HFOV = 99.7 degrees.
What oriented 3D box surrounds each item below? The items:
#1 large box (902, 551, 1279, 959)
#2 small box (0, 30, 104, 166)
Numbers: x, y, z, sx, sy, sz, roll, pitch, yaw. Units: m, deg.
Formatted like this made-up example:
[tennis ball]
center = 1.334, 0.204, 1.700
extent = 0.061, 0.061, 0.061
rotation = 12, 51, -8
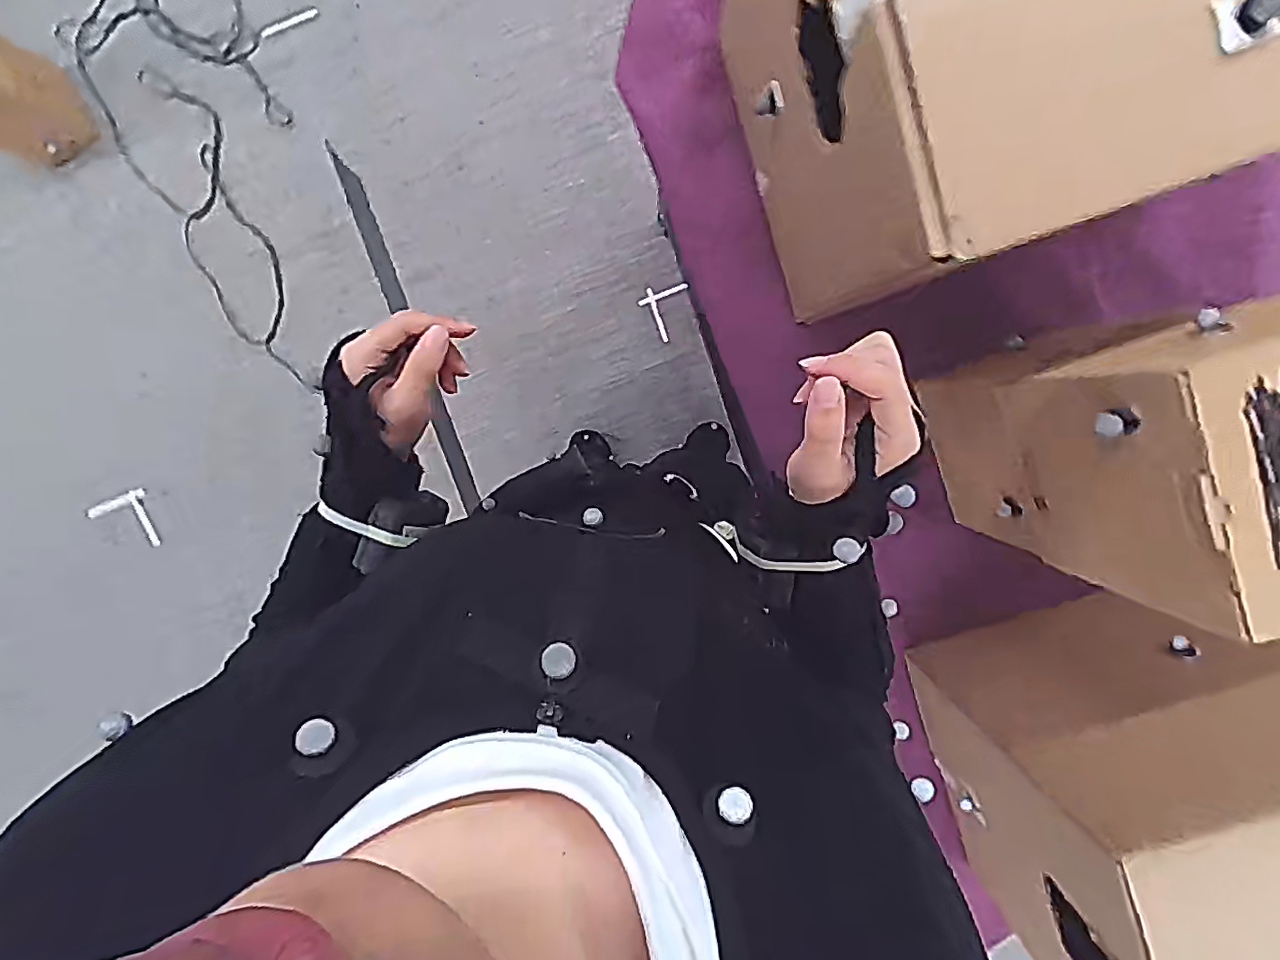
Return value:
[large box]
center = 0.545, 0.302, 0.509
extent = 0.408, 0.320, 0.320
rotation = -19, 97, 3
[small box]
center = -1.411, -0.865, 1.234
extent = 0.168, 0.176, 0.179
rotation = -25, 96, 7
